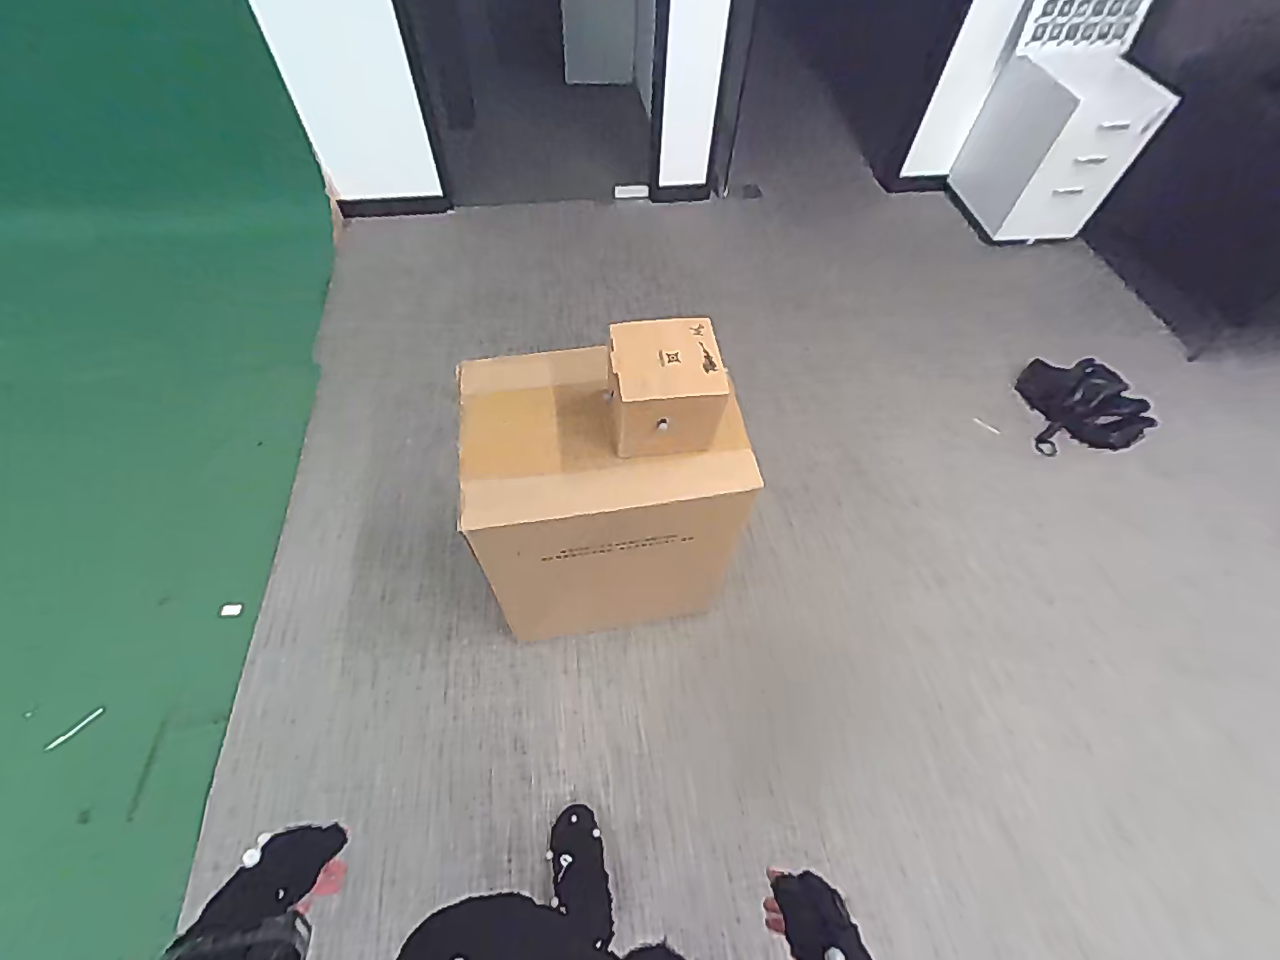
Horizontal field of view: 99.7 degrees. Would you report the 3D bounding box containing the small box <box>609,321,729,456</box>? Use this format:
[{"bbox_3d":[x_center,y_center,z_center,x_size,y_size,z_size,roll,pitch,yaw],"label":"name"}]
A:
[{"bbox_3d":[0.042,-0.154,0.950,0.179,0.176,0.168,-6,62,-7],"label":"small box"}]
